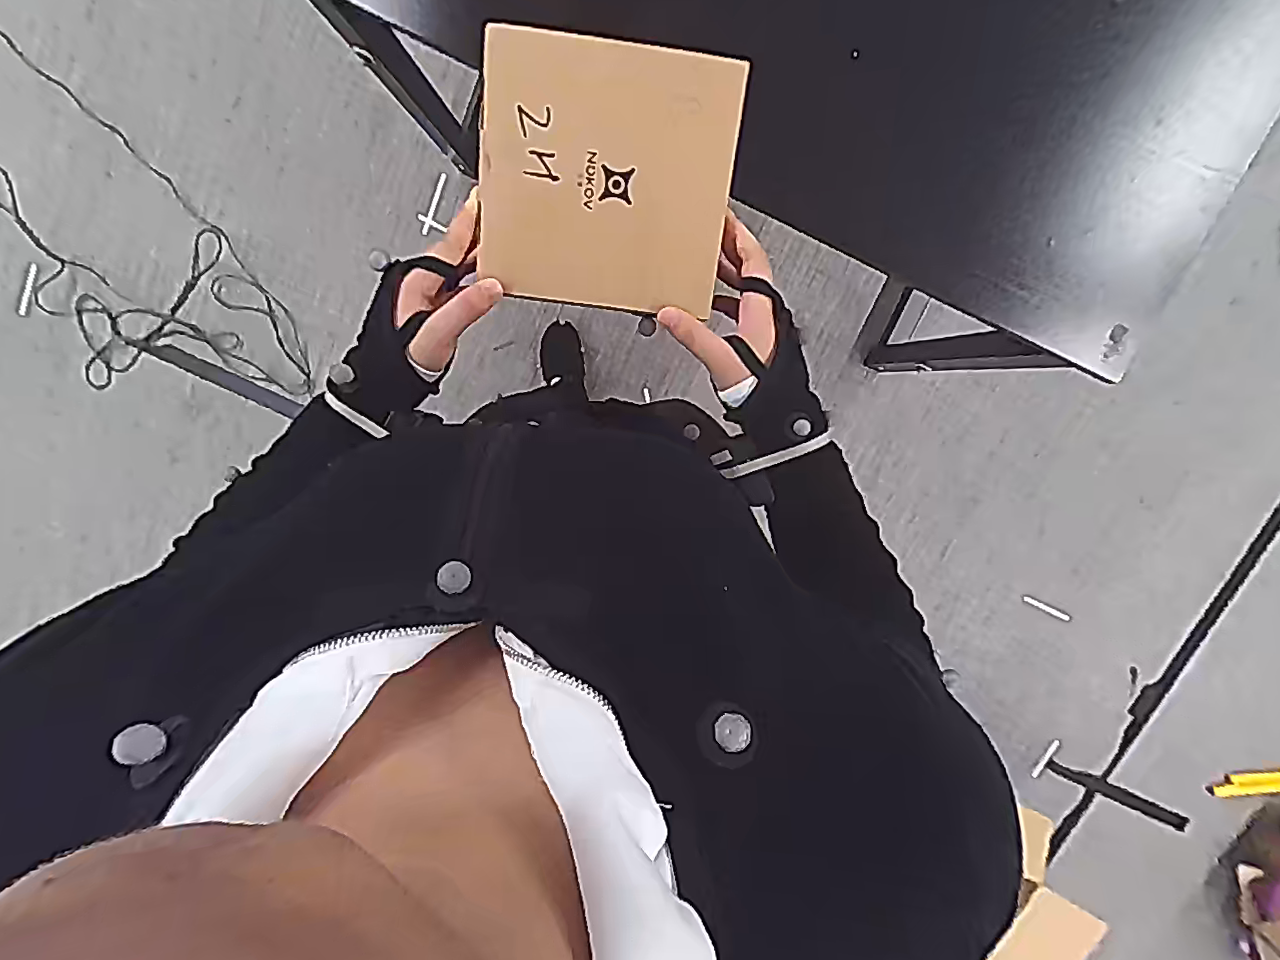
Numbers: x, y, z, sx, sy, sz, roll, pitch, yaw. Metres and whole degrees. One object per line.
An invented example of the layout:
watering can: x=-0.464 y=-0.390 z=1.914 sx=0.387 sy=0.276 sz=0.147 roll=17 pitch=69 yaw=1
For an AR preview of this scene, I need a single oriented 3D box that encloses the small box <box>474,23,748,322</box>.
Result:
small box: x=-0.025 y=-0.230 z=0.452 sx=0.179 sy=0.176 sz=0.168 roll=8 pitch=106 yaw=-2
